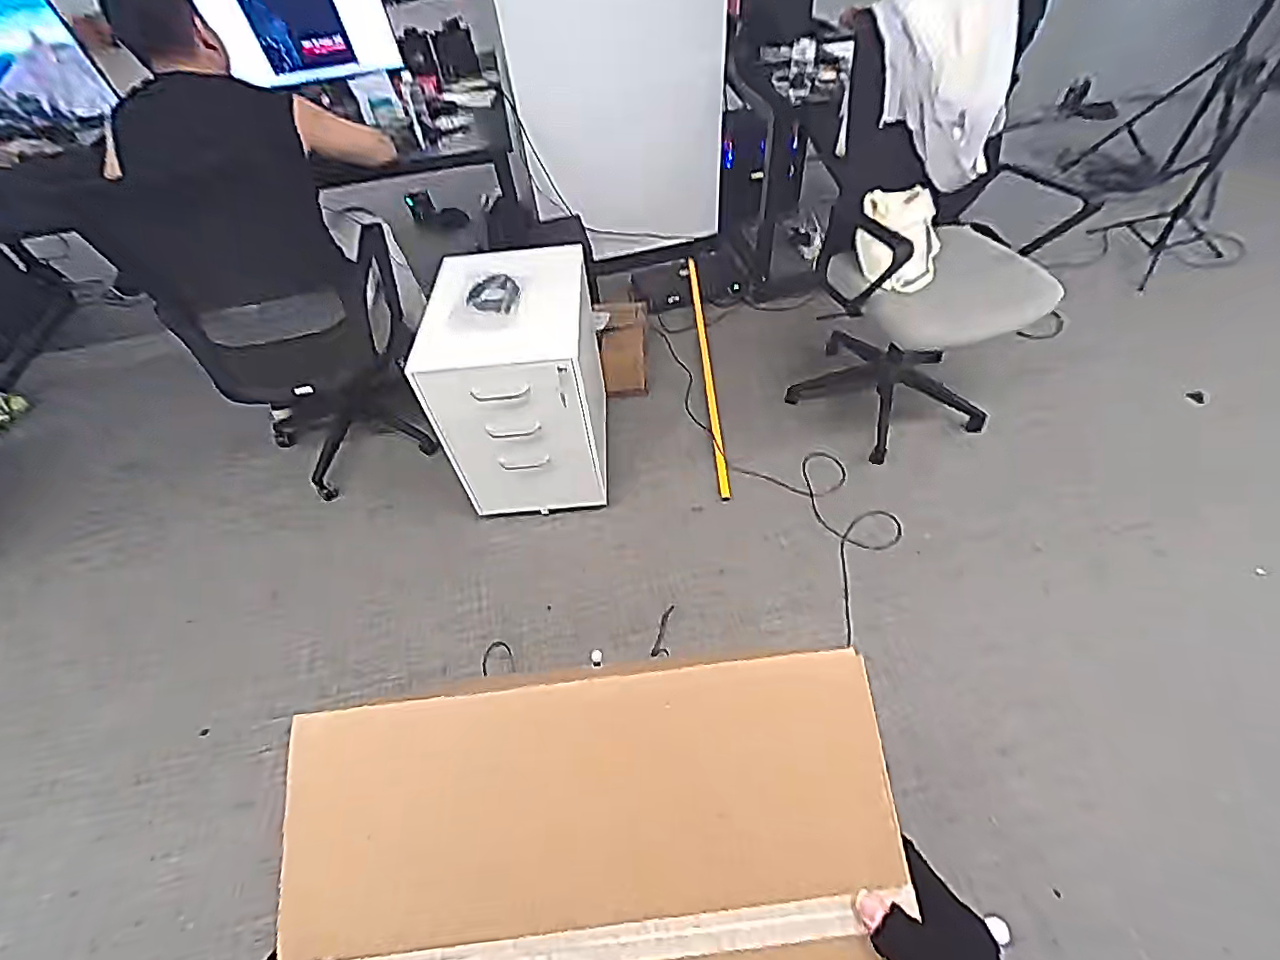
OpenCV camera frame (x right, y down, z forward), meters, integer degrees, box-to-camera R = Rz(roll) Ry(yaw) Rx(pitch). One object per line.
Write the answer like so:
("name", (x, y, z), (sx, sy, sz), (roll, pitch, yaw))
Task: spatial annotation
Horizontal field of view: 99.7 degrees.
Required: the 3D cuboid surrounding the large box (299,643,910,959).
("large box", (-0.022, 0.339, 0.499), (0.408, 0.320, 0.320), (-7, 74, -1))
